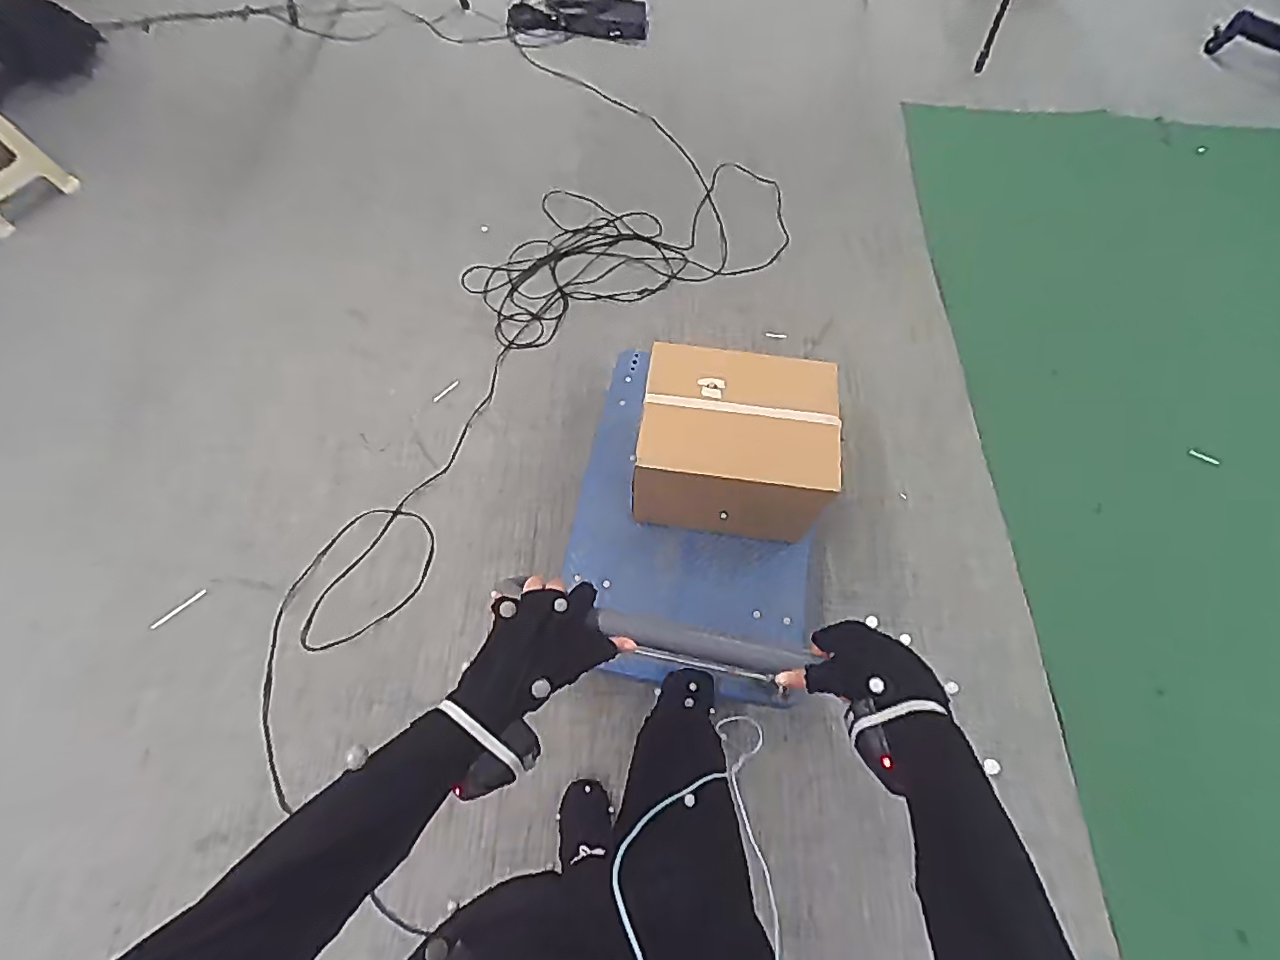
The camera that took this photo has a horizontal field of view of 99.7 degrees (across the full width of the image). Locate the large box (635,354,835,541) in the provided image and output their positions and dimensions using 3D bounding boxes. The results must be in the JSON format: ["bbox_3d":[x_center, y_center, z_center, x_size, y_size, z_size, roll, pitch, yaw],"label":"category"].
[{"bbox_3d":[0.205,-0.064,1.265,0.408,0.320,0.320,6,64,3],"label":"large box"}]
